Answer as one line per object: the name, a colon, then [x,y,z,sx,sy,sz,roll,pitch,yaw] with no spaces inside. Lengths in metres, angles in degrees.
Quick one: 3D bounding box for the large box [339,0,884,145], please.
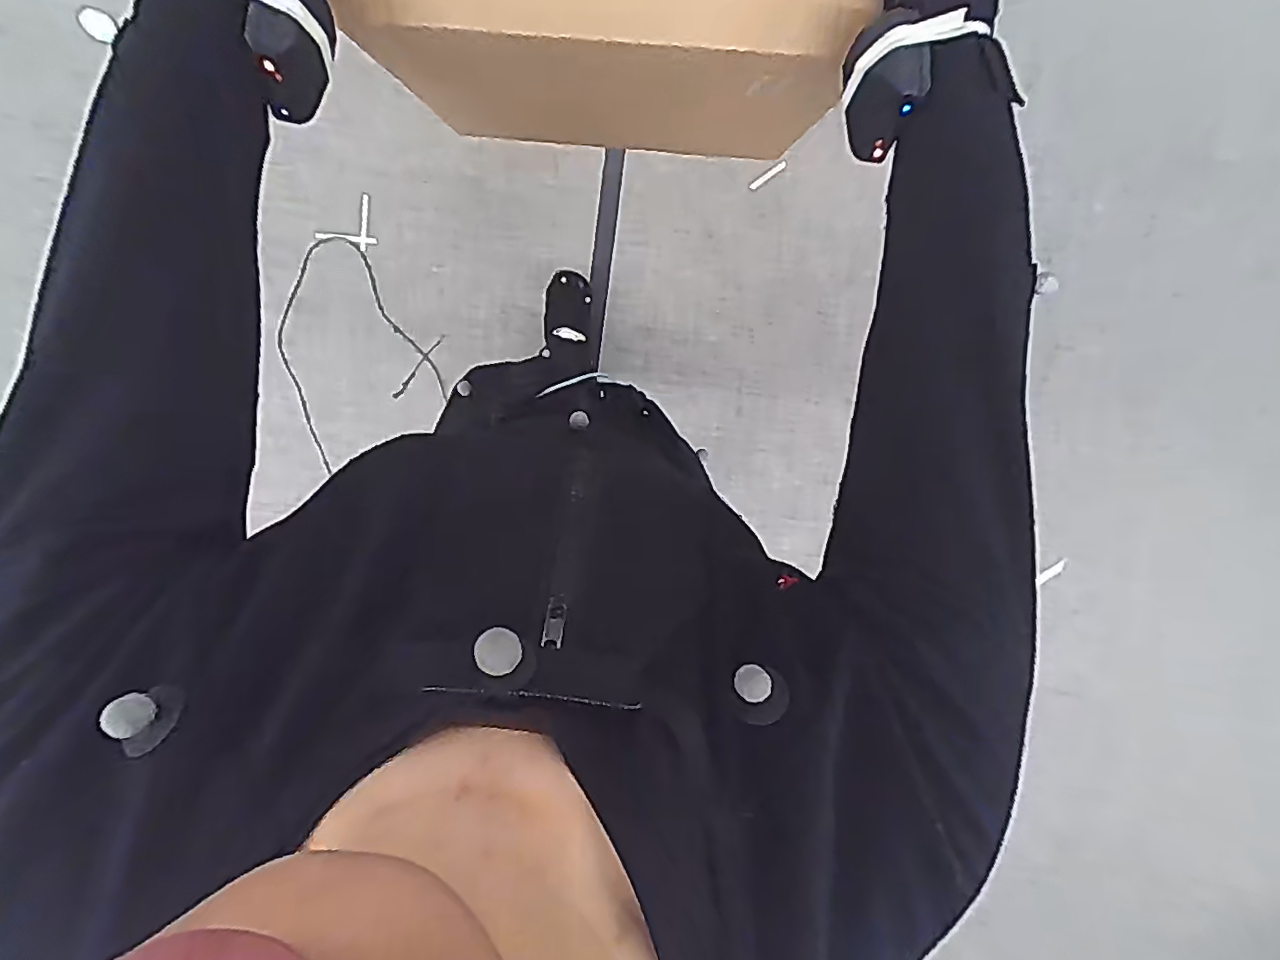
large box: [-0.018,-0.524,0.488,0.408,0.320,0.320,3,110,-2]
